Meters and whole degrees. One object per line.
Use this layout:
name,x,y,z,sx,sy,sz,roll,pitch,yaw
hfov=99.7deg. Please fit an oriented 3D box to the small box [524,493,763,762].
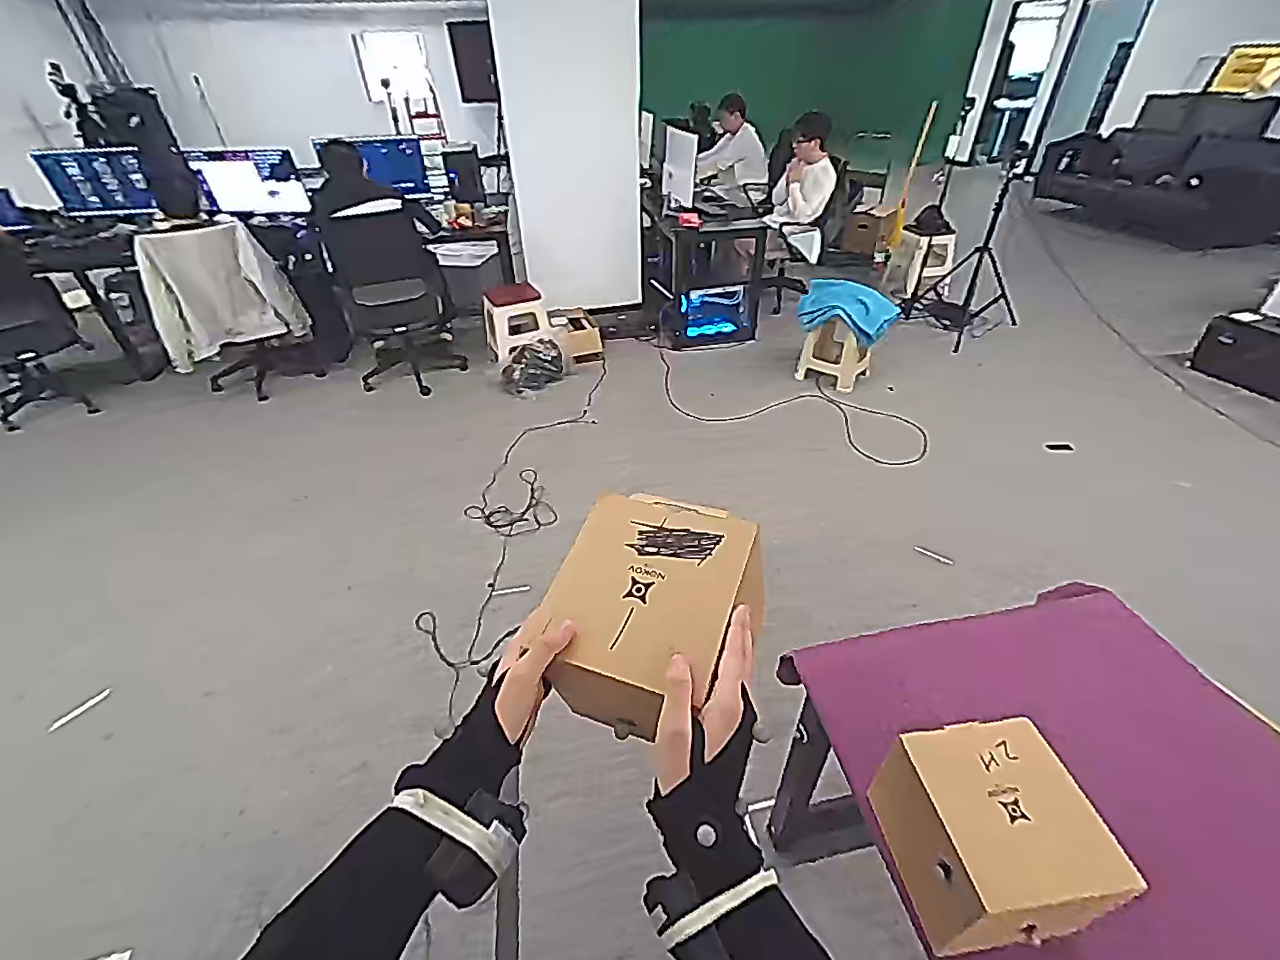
small box,0.019,0.142,0.531,0.168,0.176,0.179,10,53,23

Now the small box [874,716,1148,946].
small box,0.400,0.406,0.625,0.168,0.176,0.179,-5,38,-4
